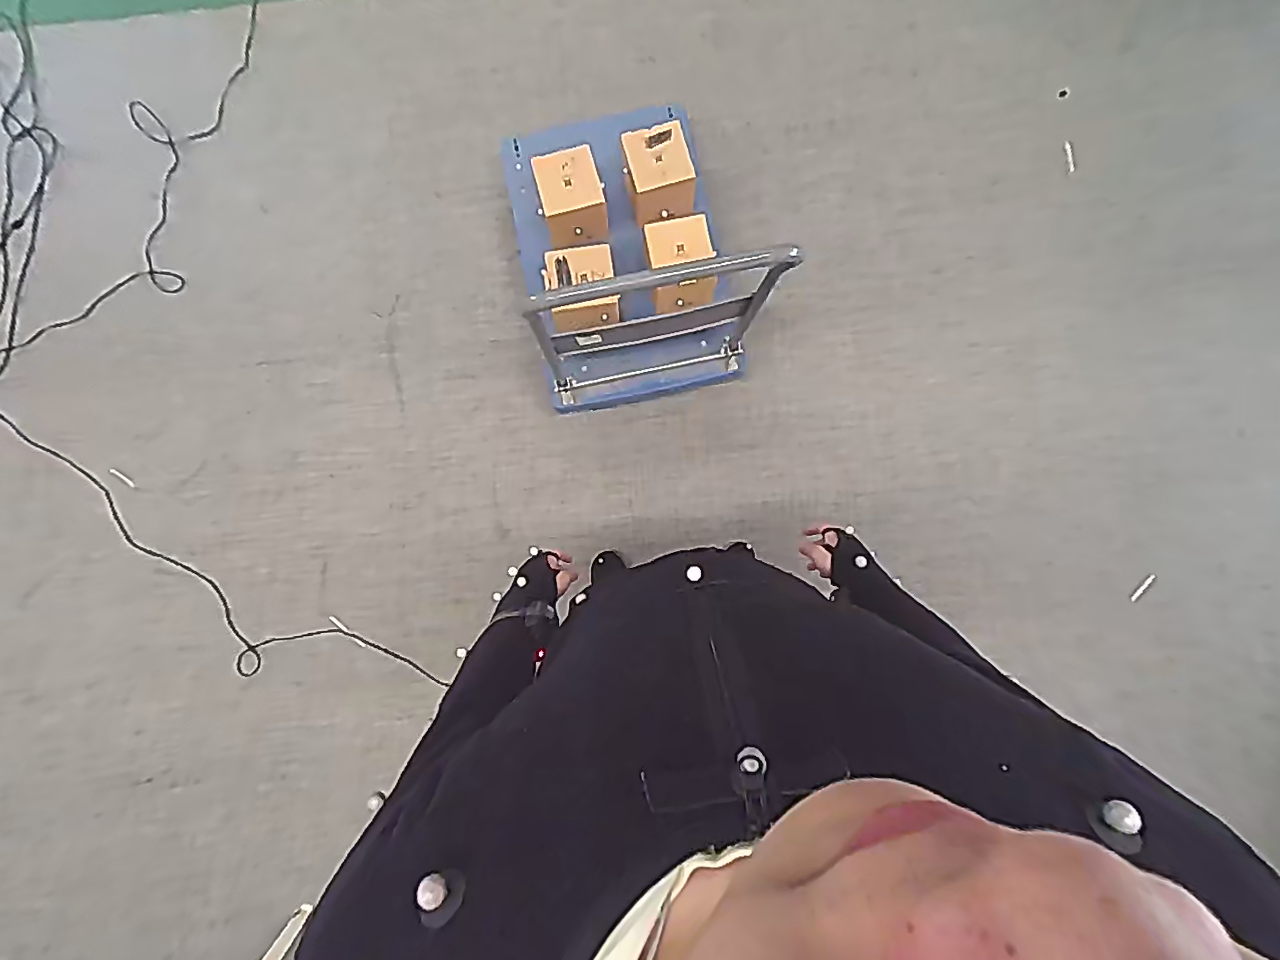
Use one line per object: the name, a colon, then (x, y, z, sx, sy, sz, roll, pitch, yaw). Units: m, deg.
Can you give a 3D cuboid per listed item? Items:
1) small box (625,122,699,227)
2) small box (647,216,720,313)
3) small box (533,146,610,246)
small box: (0.057, -0.851, 1.518, 0.168, 0.176, 0.179, -15, 85, 0)
small box: (0.114, -0.588, 1.489, 0.168, 0.176, 0.179, -11, 84, -1)
small box: (-0.186, -0.782, 1.513, 0.168, 0.176, 0.179, -15, 83, -2)
